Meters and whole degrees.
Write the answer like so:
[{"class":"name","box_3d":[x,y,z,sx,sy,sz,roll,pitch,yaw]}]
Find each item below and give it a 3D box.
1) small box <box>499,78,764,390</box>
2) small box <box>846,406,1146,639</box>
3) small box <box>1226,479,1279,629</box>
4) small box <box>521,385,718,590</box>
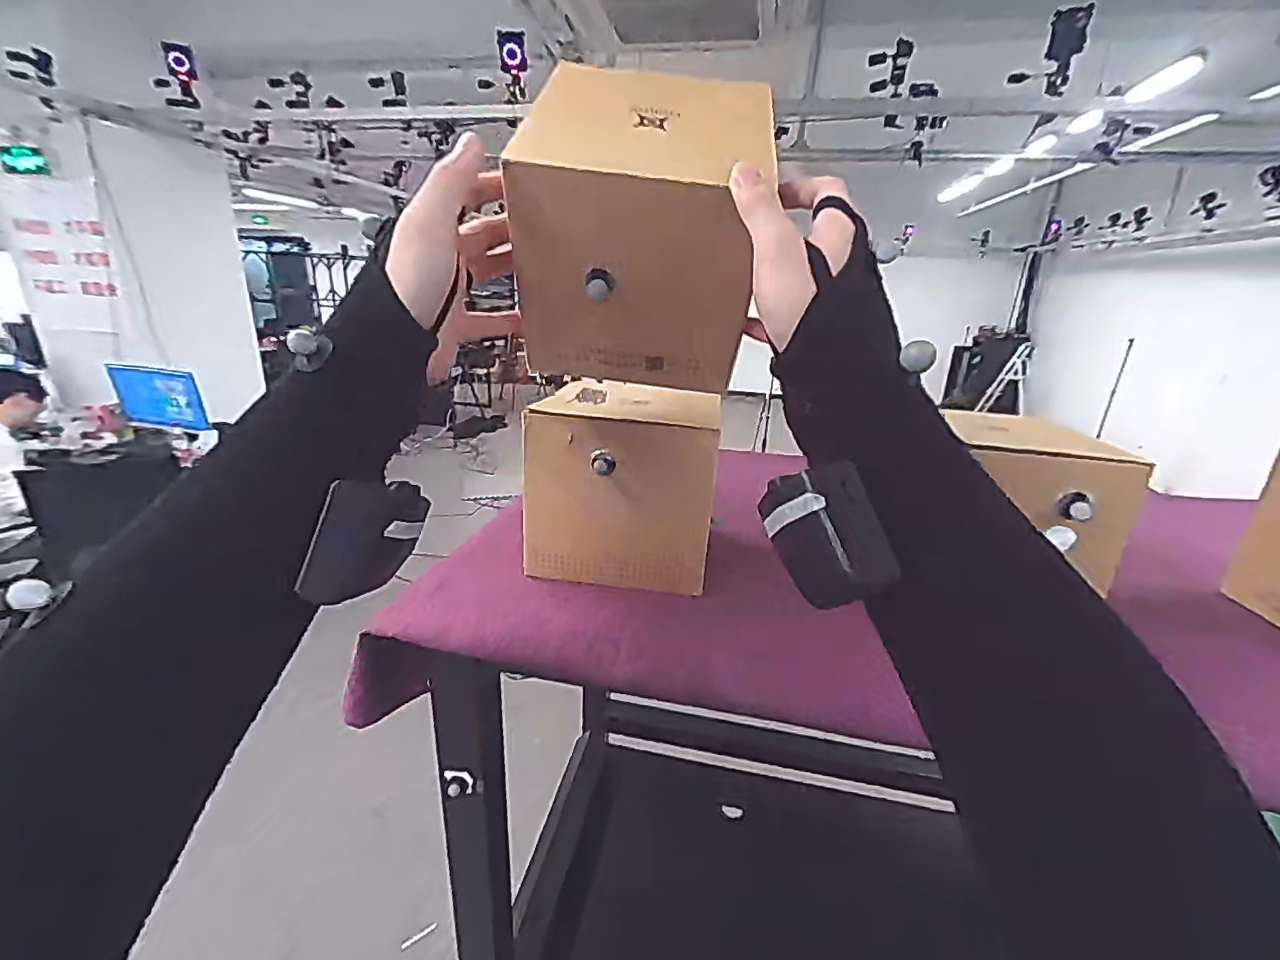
[{"class":"small box","box_3d":[0.001,-0.194,0.437,0.168,0.176,0.179,7,51,2]},{"class":"small box","box_3d":[0.313,0.032,0.522,0.179,0.176,0.168,6,18,11]},{"class":"small box","box_3d":[0.676,0.073,0.453,0.179,0.176,0.168,7,17,10]},{"class":"small box","box_3d":[-0.014,0.000,0.568,0.179,0.176,0.168,6,19,7]}]
